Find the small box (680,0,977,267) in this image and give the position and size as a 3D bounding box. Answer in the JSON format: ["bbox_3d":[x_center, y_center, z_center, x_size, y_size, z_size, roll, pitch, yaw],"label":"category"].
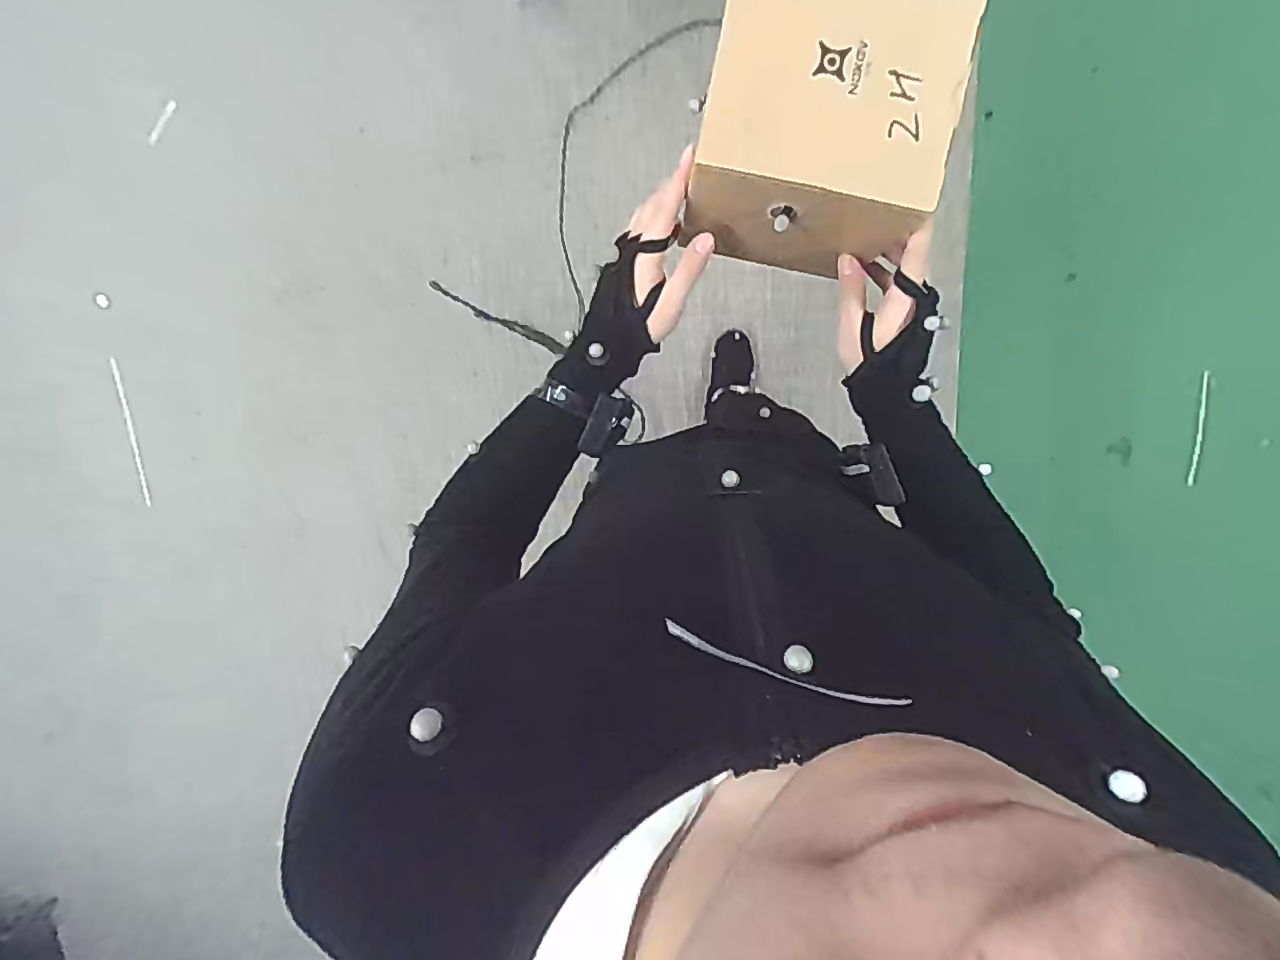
[{"bbox_3d":[0.134,-0.295,0.450,0.179,0.176,0.168,12,95,0],"label":"small box"}]
